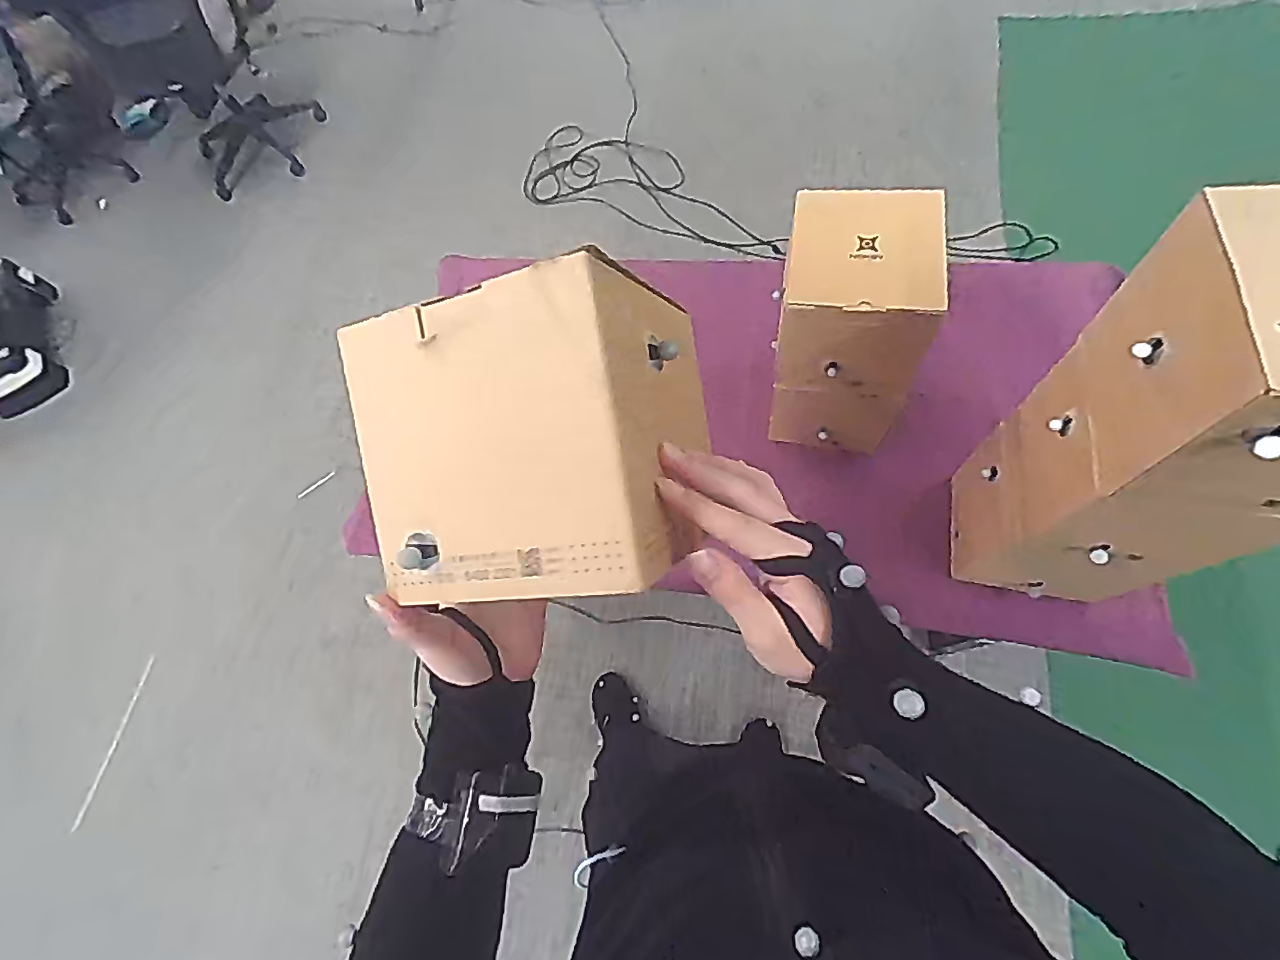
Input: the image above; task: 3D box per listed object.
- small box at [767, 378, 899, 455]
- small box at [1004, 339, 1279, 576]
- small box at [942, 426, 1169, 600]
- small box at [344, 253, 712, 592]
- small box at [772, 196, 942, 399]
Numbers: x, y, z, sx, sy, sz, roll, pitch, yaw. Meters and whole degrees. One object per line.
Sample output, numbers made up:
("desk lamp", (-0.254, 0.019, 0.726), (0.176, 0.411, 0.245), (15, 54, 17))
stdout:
("small box", (0.292, -0.160, 0.829), (0.168, 0.176, 0.179), (9, 69, 13))
("small box", (0.500, -0.017, 0.556), (0.168, 0.176, 0.179), (9, 68, 14))
("small box", (0.521, 0.051, 0.704), (0.179, 0.176, 0.168), (9, 68, 13))
("small box", (-0.056, -0.026, 0.366), (0.168, 0.179, 0.176), (-7, 93, 23))
("small box", (0.262, -0.224, 0.683), (0.168, 0.176, 0.179), (7, 69, 11))
